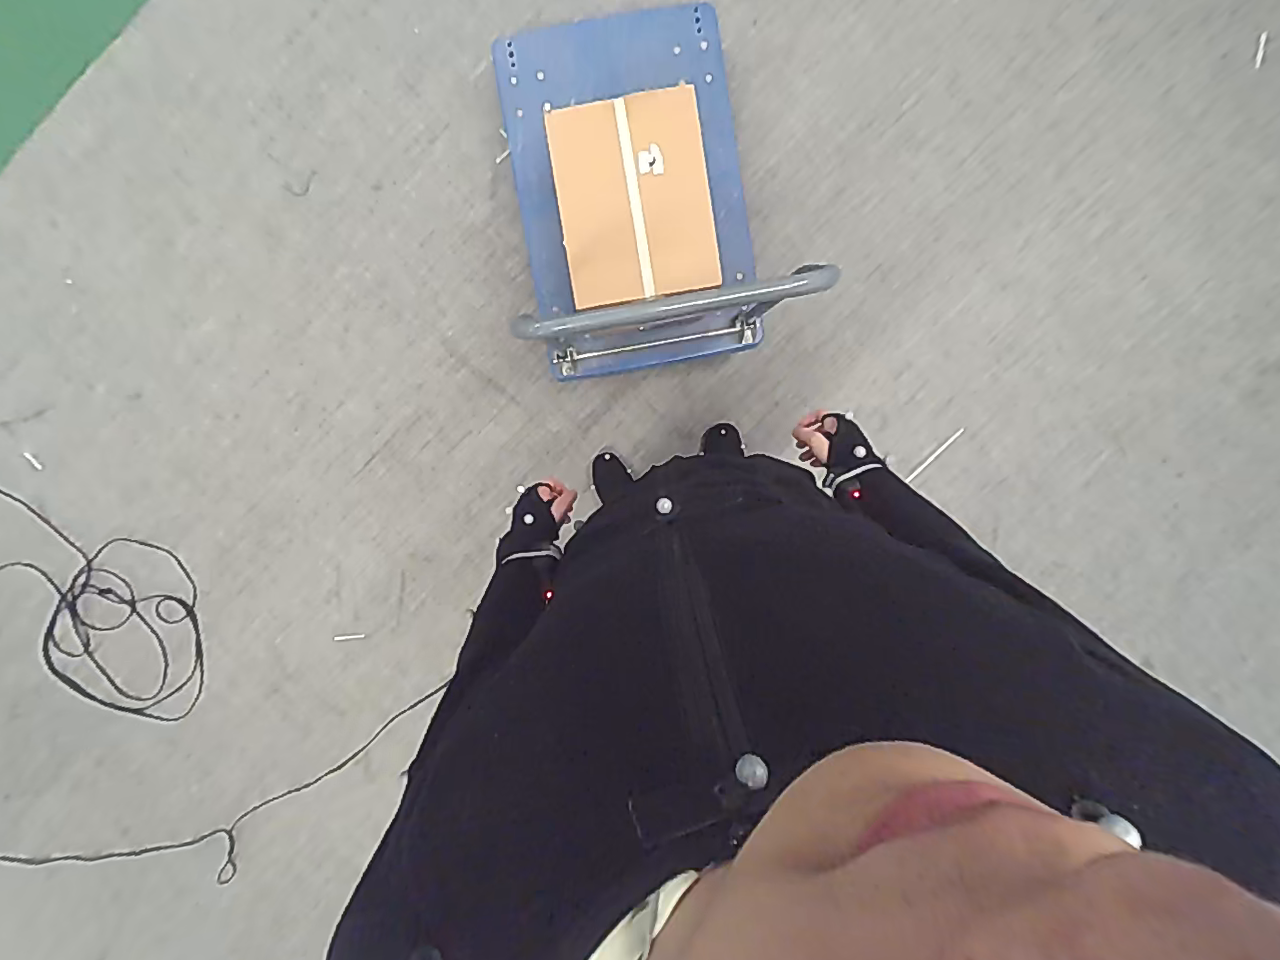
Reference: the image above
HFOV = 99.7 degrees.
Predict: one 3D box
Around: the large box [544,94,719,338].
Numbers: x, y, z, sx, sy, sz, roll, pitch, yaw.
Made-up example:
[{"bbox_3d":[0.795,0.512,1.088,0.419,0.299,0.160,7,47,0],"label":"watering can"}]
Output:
[{"bbox_3d":[-0.012,-0.587,1.280,0.320,0.320,0.408,-9,93,1],"label":"large box"}]
